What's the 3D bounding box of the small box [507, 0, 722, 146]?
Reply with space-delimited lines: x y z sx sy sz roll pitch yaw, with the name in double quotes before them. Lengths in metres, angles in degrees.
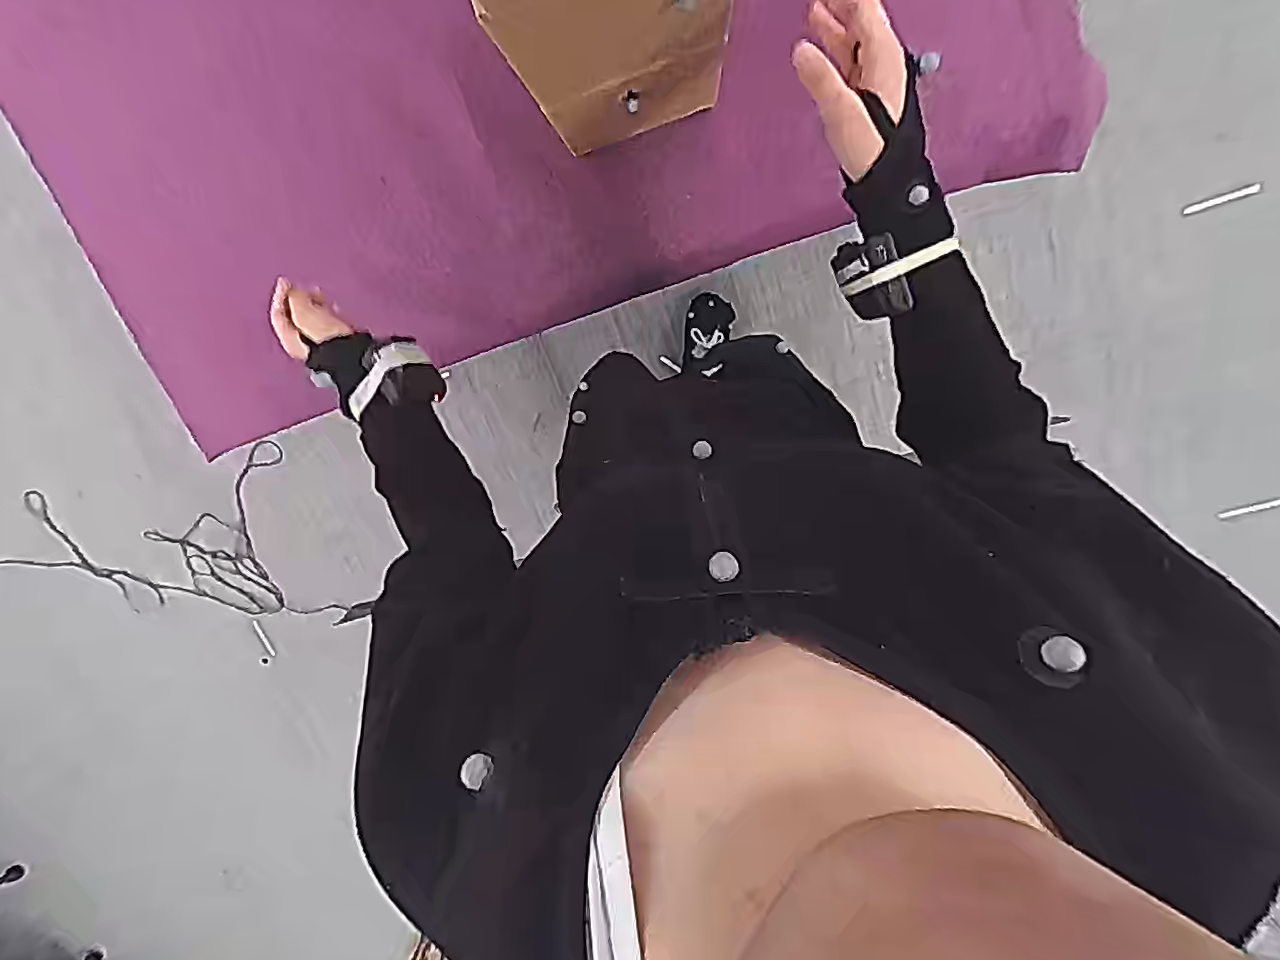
"small box" -0.026 -0.461 0.531 0.179 0.176 0.168 -15 107 9
